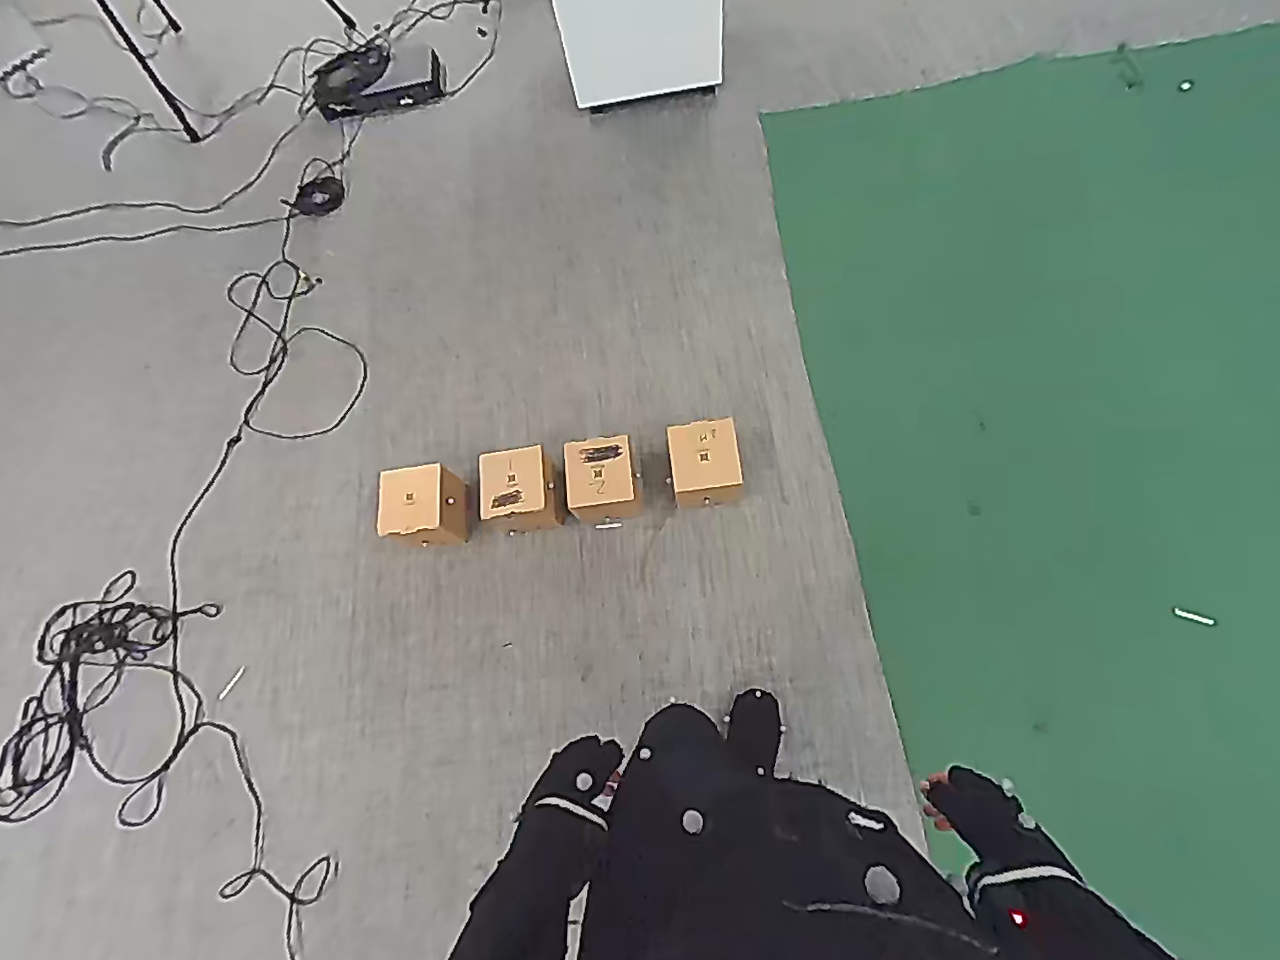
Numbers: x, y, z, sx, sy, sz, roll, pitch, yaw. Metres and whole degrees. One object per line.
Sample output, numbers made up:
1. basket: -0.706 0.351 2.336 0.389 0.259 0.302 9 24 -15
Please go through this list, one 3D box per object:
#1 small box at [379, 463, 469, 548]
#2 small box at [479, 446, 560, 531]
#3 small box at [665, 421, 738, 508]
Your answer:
1. small box: -0.577 0.073 1.465 0.168 0.176 0.179 -8 70 6
2. small box: -0.315 0.030 1.441 0.168 0.176 0.179 -9 69 6
3. small box: 0.160 -0.033 1.400 0.168 0.176 0.179 -7 70 5
